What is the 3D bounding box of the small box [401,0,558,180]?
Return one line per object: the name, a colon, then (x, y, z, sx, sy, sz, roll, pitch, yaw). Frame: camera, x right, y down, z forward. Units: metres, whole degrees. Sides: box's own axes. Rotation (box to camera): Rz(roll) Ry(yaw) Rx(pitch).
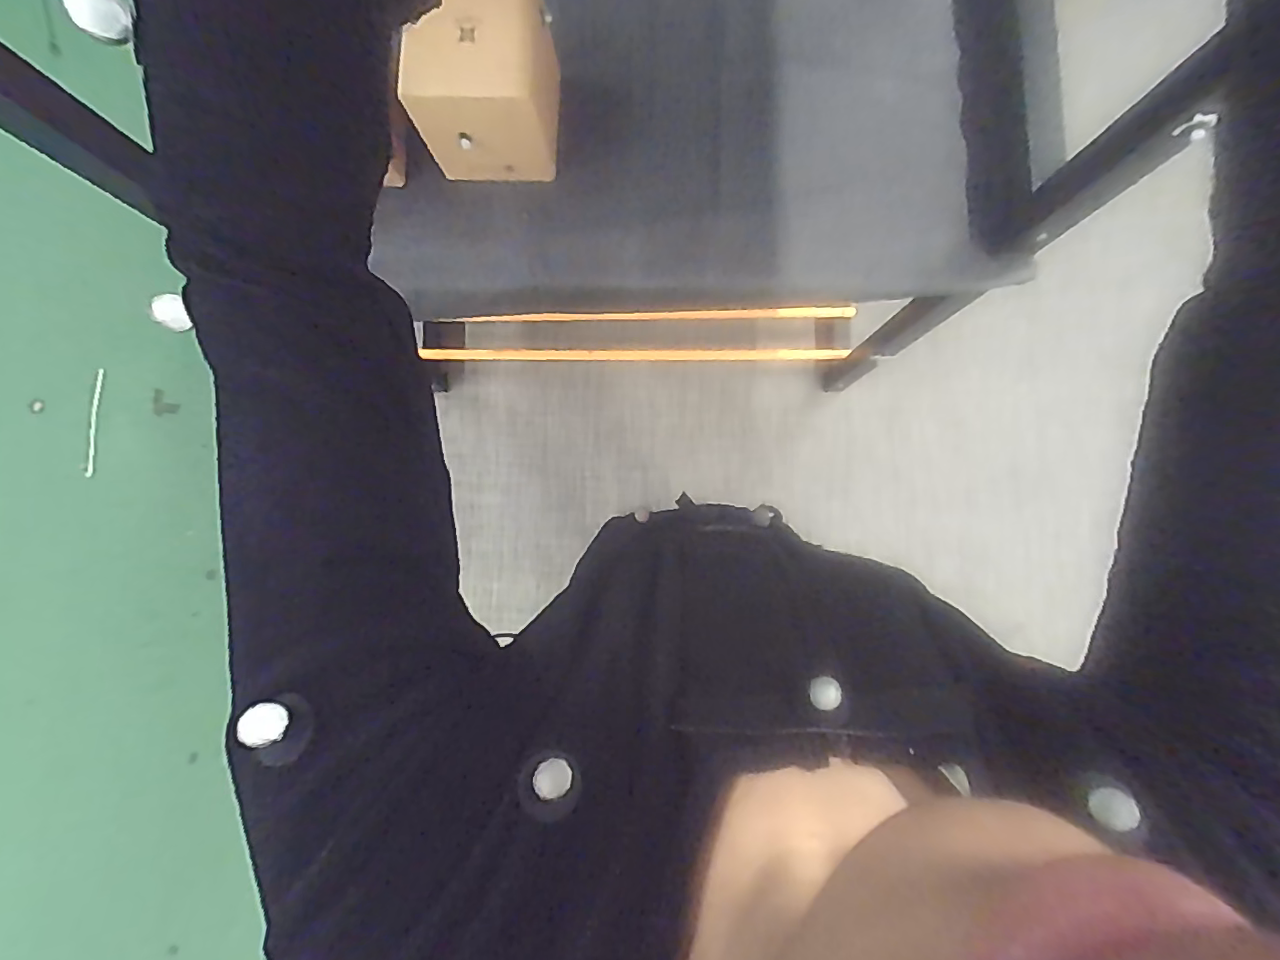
small box: (-0.210, -0.547, 0.752, 0.168, 0.176, 0.179, 2, 85, 1)
